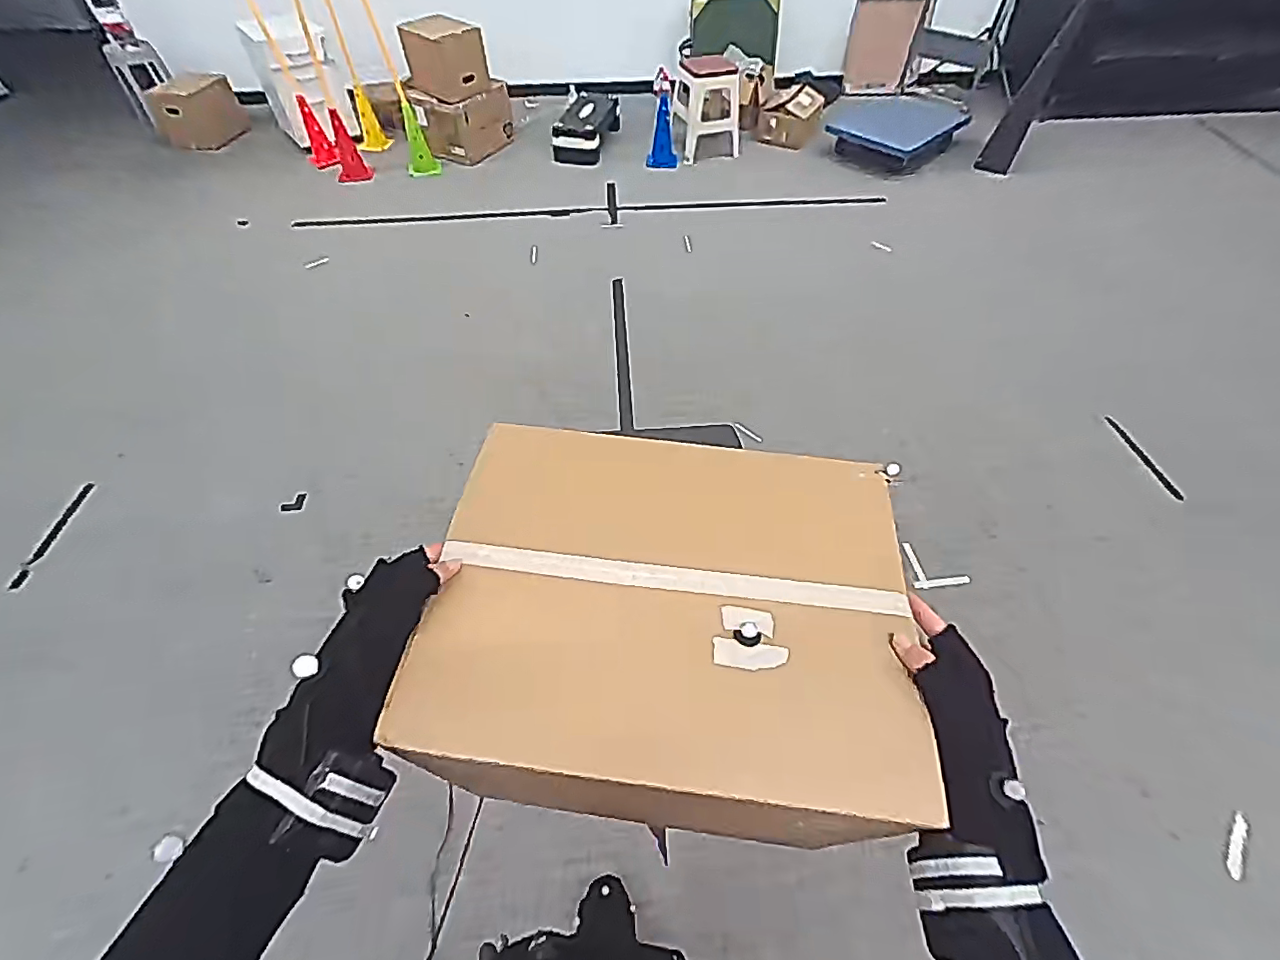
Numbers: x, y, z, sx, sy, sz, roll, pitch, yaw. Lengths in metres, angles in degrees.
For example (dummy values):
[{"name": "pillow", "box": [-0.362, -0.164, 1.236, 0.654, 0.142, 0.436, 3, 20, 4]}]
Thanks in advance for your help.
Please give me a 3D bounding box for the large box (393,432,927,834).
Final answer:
[{"name": "large box", "box": [0.021, 0.177, 0.601, 0.408, 0.320, 0.320, 6, 54, 3]}]
